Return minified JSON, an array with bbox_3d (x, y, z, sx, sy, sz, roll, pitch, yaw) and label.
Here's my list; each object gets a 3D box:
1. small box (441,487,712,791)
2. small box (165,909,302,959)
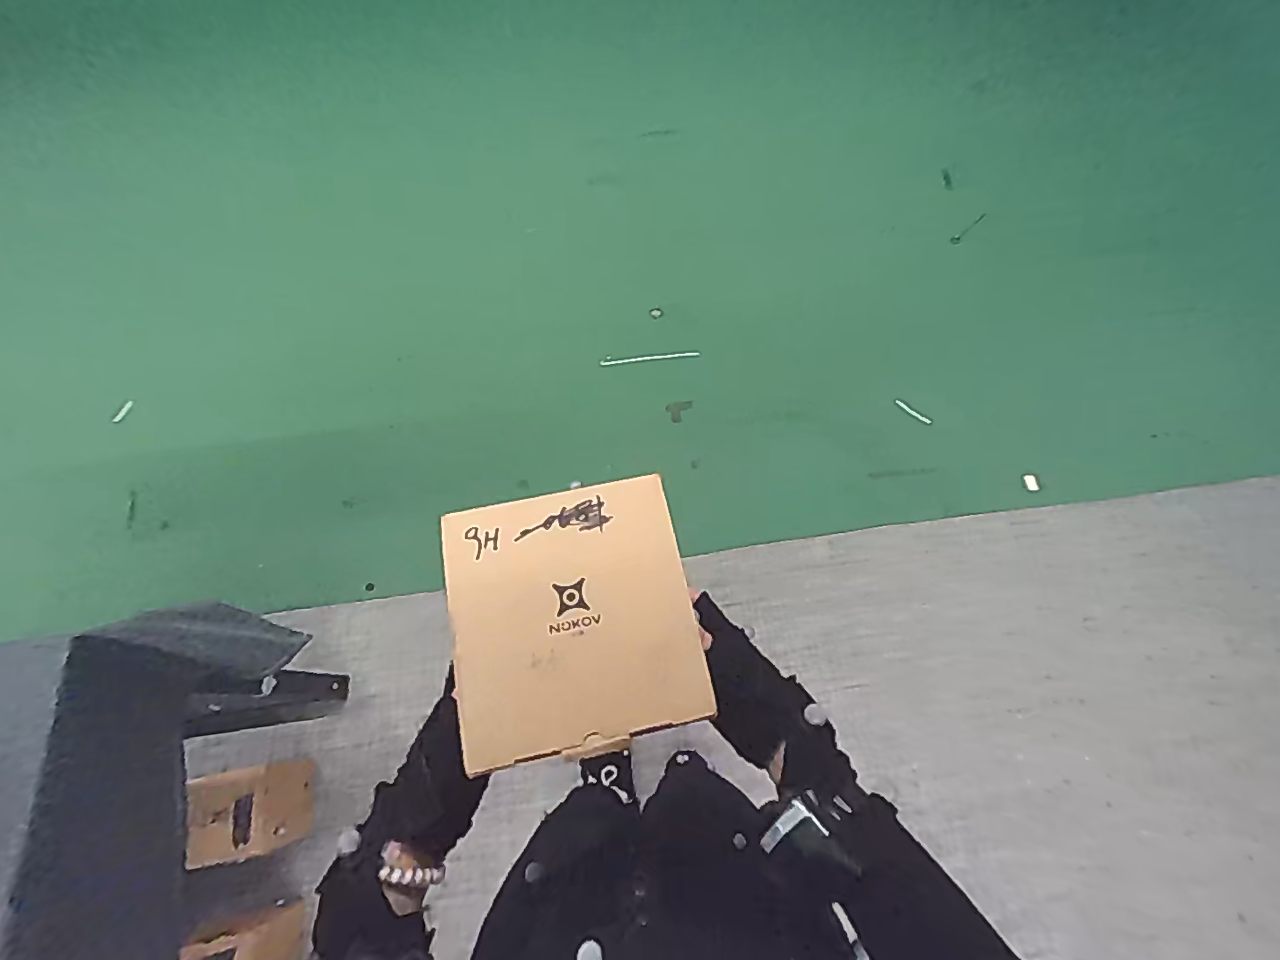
[{"bbox_3d":[-0.049,0.124,0.442,0.168,0.176,0.179,-10,71,-5],"label":"small box"},{"bbox_3d":[-0.792,0.978,1.057,0.168,0.176,0.179,-10,69,-4],"label":"small box"}]
